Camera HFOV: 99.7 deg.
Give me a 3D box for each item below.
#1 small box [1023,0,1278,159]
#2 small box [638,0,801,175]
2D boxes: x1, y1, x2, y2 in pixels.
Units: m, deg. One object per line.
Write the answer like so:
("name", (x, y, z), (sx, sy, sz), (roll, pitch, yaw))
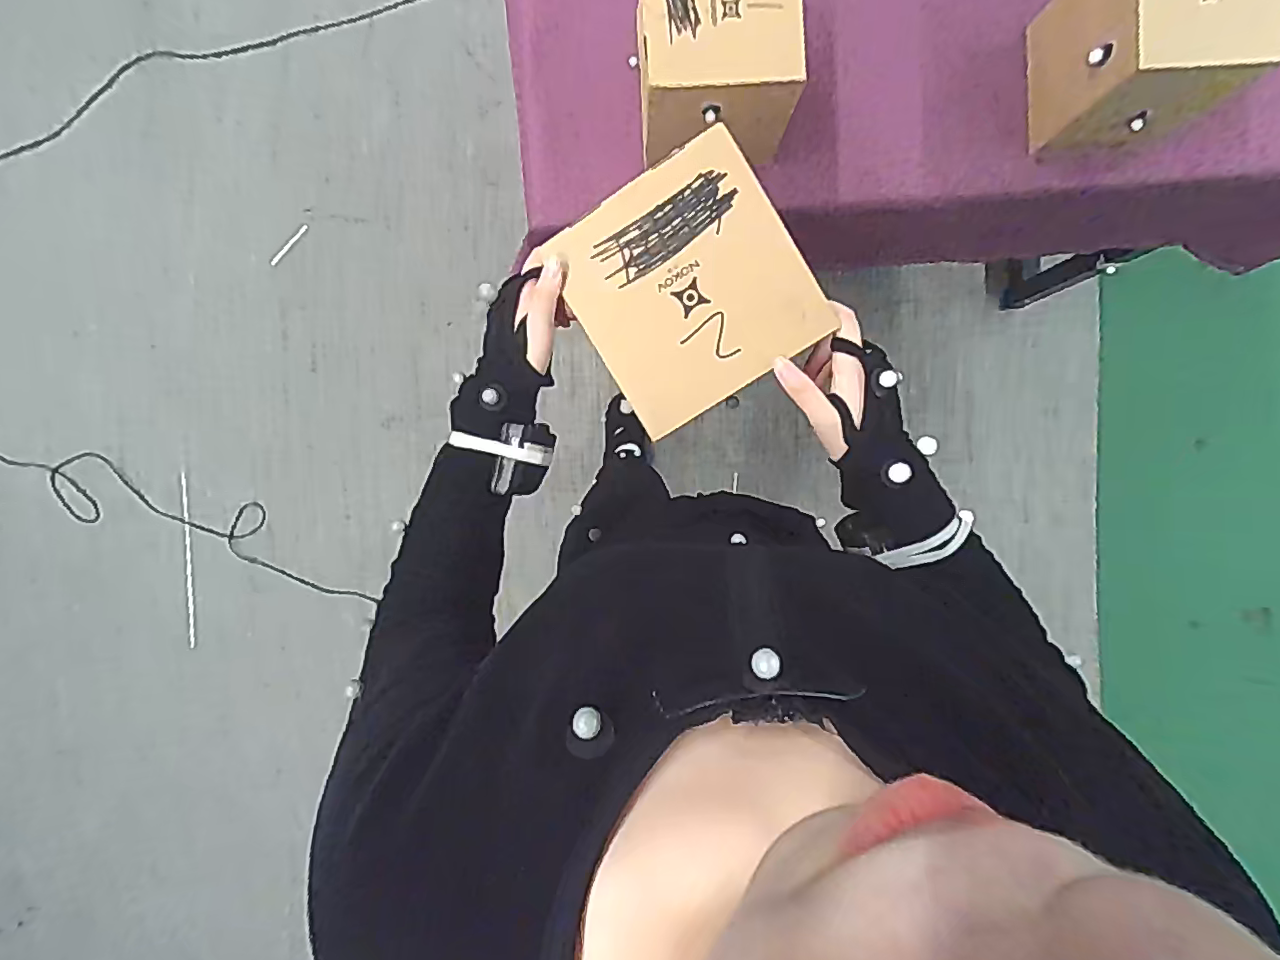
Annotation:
("small box", (0.611, -0.524, 0.669), (0.168, 0.176, 0.179), (-2, 90, 0))
("small box", (0.087, -0.505, 0.672), (0.179, 0.176, 0.168), (-3, 91, 0))
